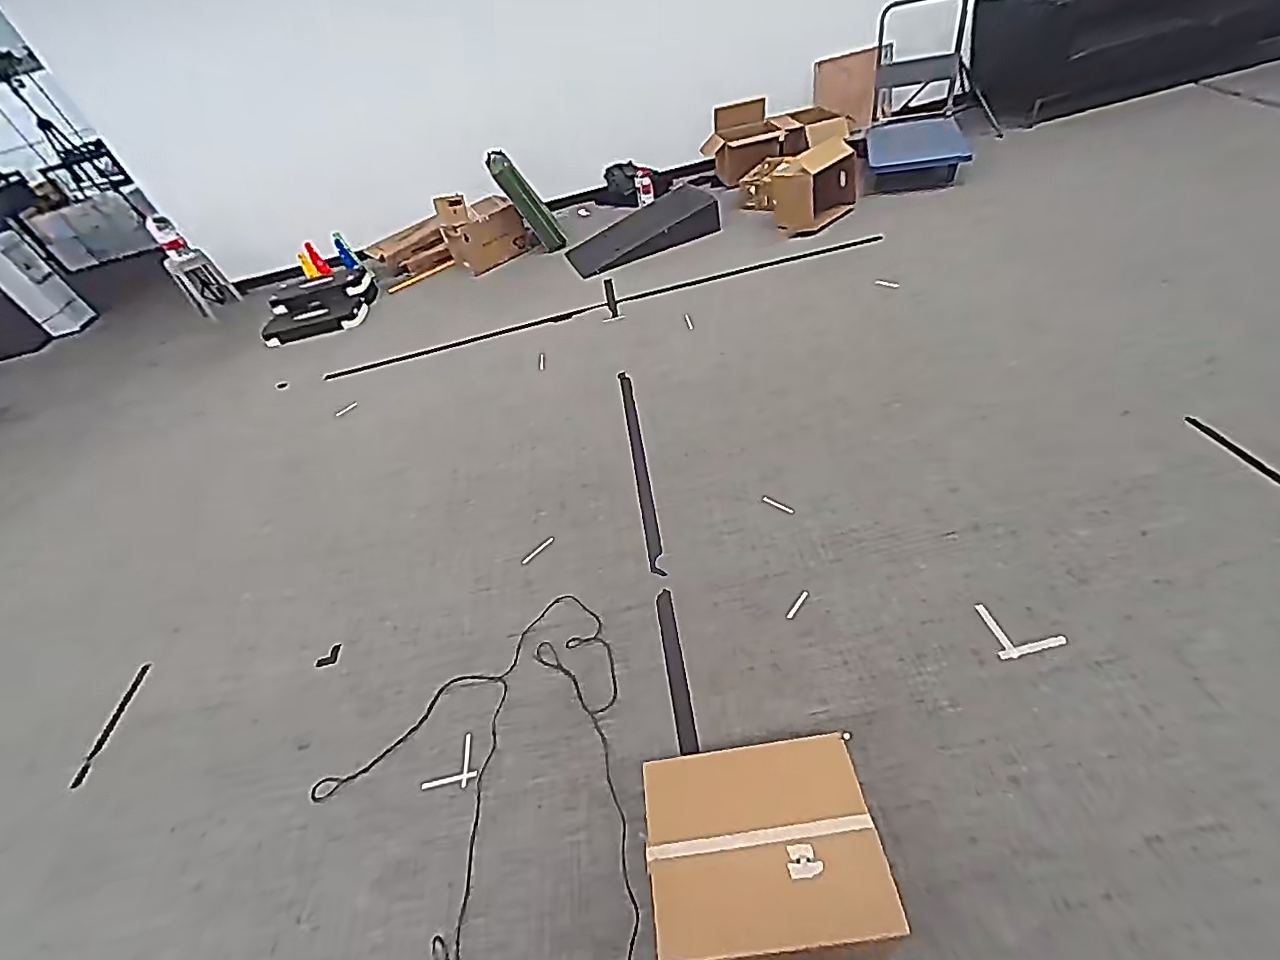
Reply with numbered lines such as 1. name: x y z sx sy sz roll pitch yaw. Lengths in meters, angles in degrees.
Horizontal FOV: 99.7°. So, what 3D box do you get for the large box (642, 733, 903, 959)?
1. large box: 0.236 0.751 1.076 0.408 0.320 0.320 -10 44 3
